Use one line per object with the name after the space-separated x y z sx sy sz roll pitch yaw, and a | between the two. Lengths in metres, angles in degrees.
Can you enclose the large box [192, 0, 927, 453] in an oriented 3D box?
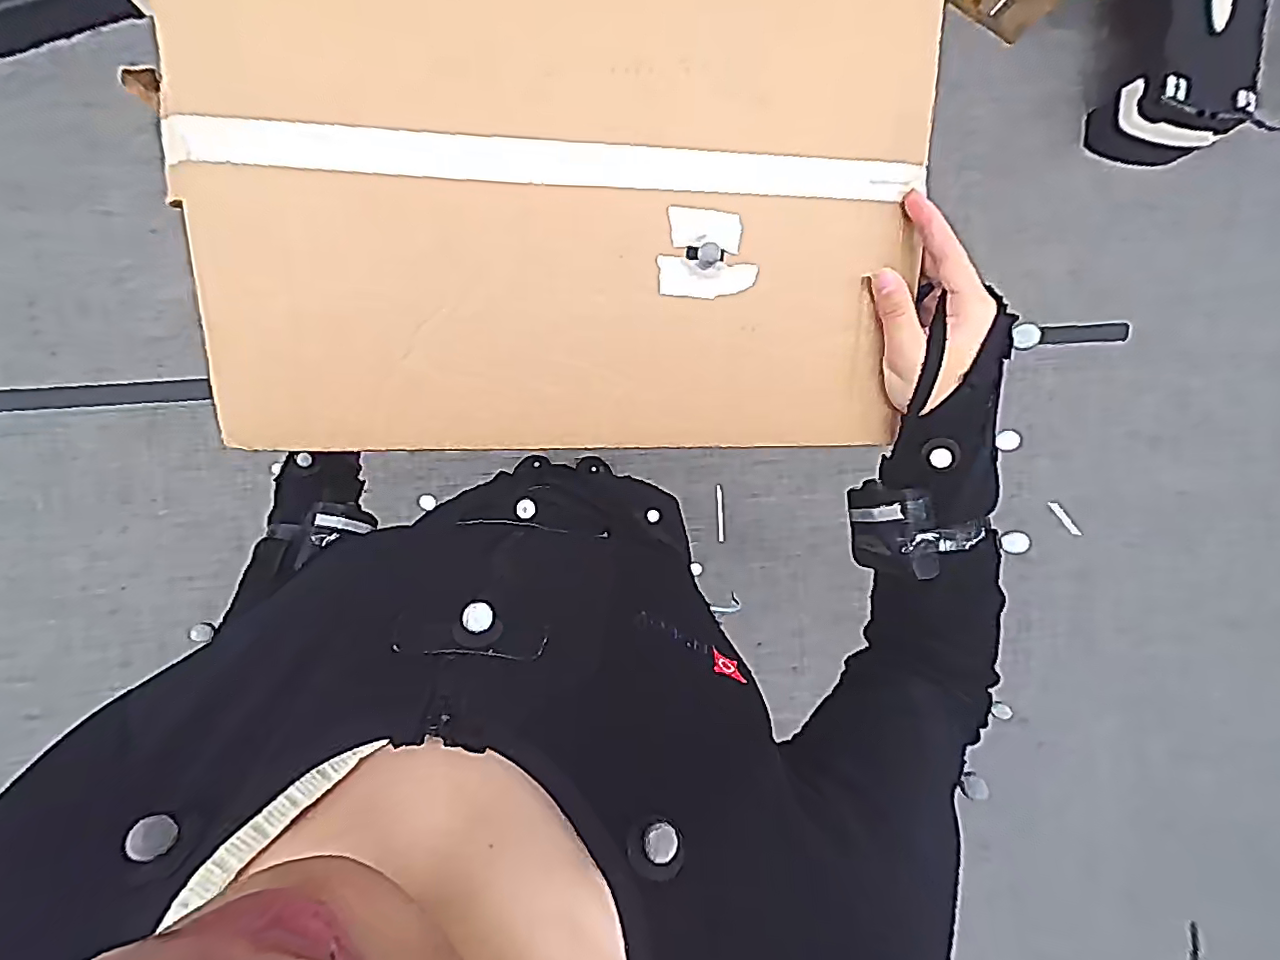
-0.051 -0.202 0.454 0.408 0.320 0.320 -2 102 -9 | large box
